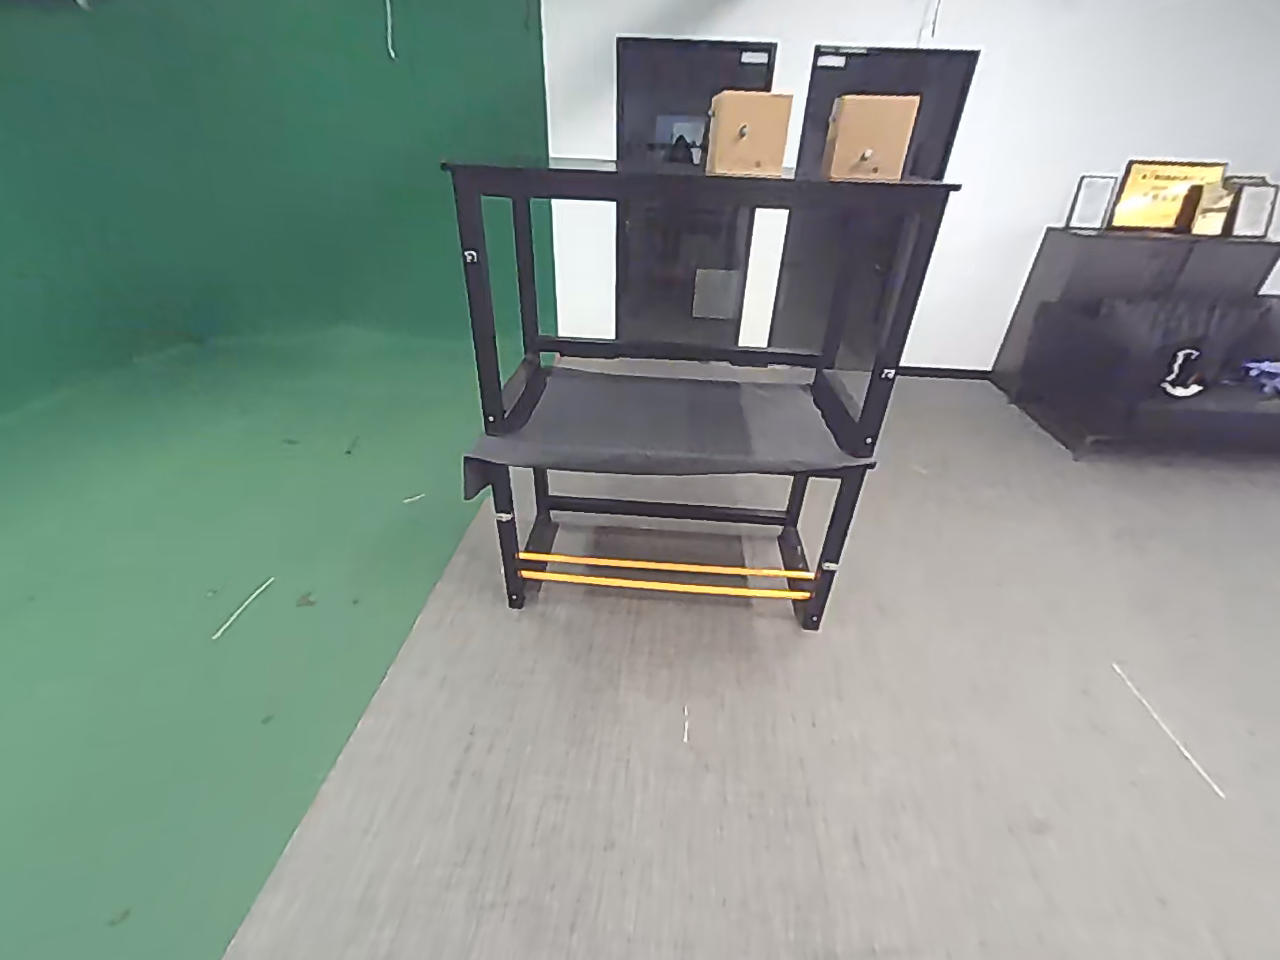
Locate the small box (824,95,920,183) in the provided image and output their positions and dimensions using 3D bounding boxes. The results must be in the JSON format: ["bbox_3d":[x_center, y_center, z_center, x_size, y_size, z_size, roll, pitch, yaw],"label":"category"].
[{"bbox_3d":[0.563,-0.842,1.338,0.168,0.176,0.179,6,33,7],"label":"small box"}]

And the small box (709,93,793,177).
[{"bbox_3d":[0.269,-0.854,1.346,0.168,0.176,0.179,1,32,-2],"label":"small box"}]
